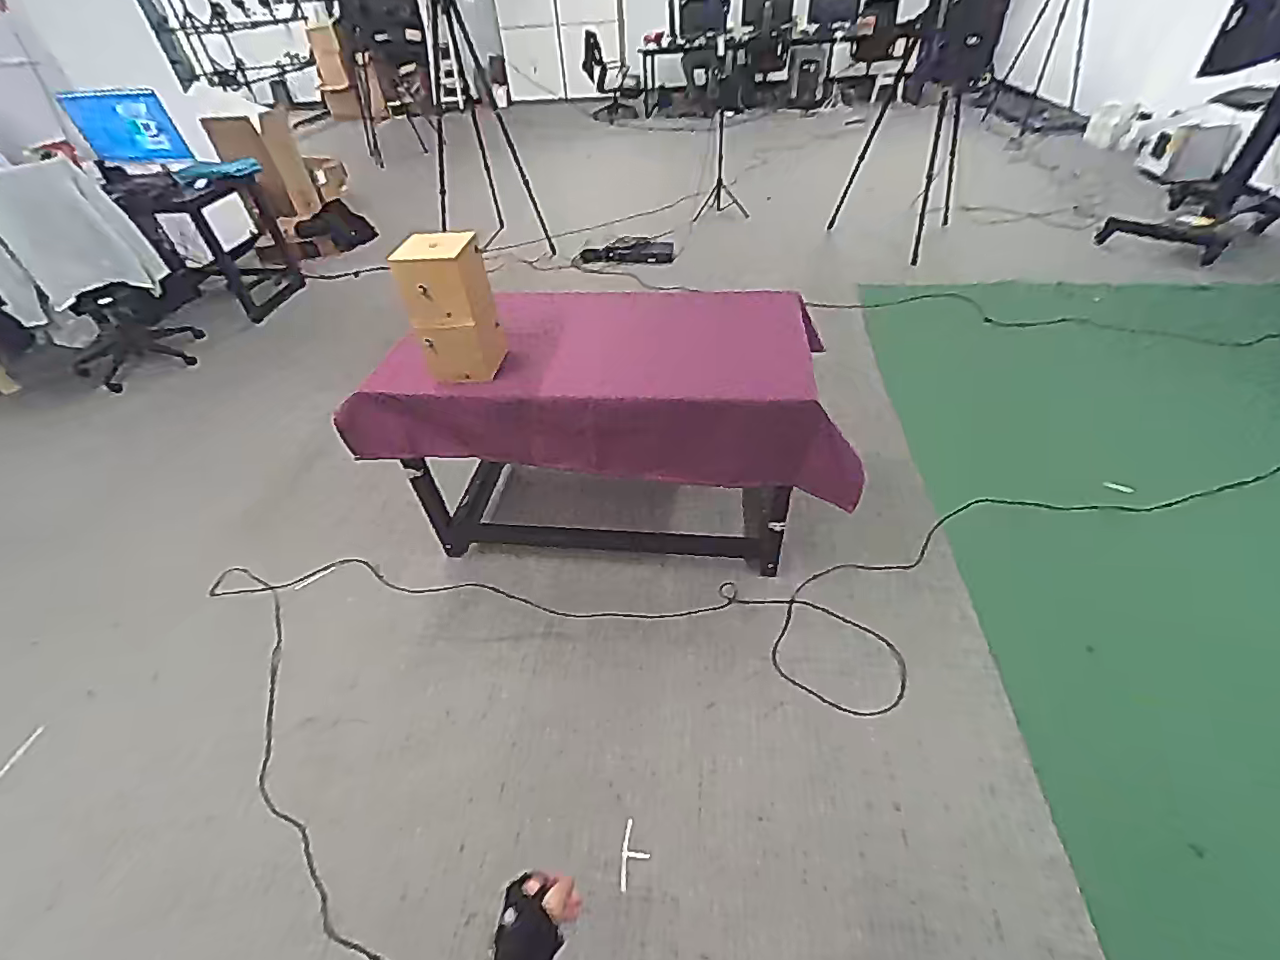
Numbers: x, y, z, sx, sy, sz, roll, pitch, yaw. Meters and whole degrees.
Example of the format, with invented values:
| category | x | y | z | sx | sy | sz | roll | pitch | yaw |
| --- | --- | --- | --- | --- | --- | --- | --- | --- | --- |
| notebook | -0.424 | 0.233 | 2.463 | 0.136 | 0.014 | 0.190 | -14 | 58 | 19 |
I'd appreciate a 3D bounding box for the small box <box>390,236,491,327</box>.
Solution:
| category | x | y | z | sx | sy | sz | roll | pitch | yaw |
| --- | --- | --- | --- | --- | --- | --- | --- | --- | --- |
| small box | -0.490 | -0.495 | 1.361 | 0.168 | 0.176 | 0.179 | -1 | 42 | 5 |
